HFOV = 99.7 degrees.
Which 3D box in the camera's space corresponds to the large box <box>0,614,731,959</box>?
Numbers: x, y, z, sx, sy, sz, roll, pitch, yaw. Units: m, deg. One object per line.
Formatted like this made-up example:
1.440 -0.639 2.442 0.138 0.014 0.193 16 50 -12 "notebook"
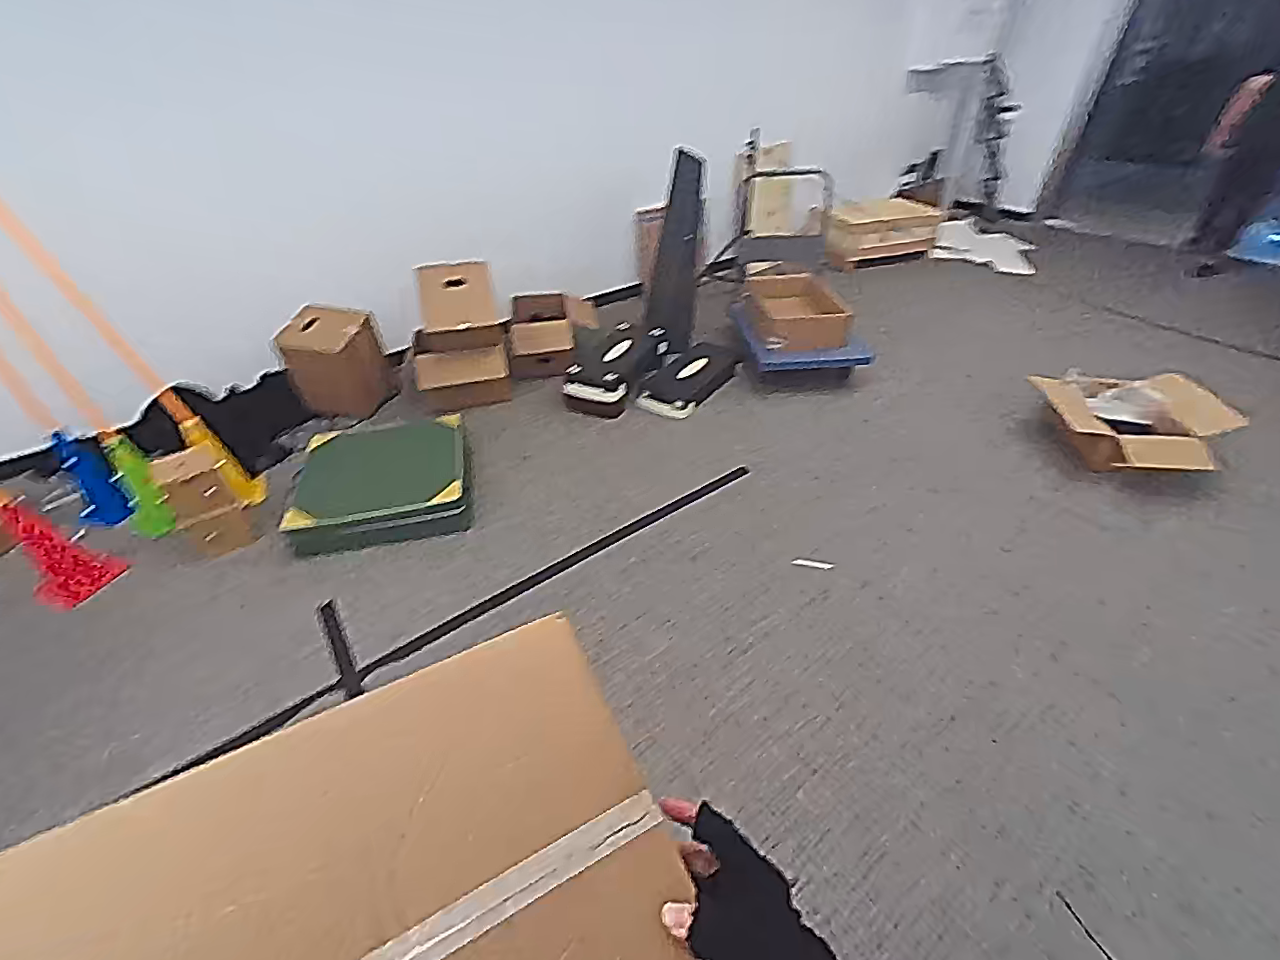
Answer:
-0.179 0.376 0.415 0.408 0.320 0.320 -20 57 -21 "large box"
